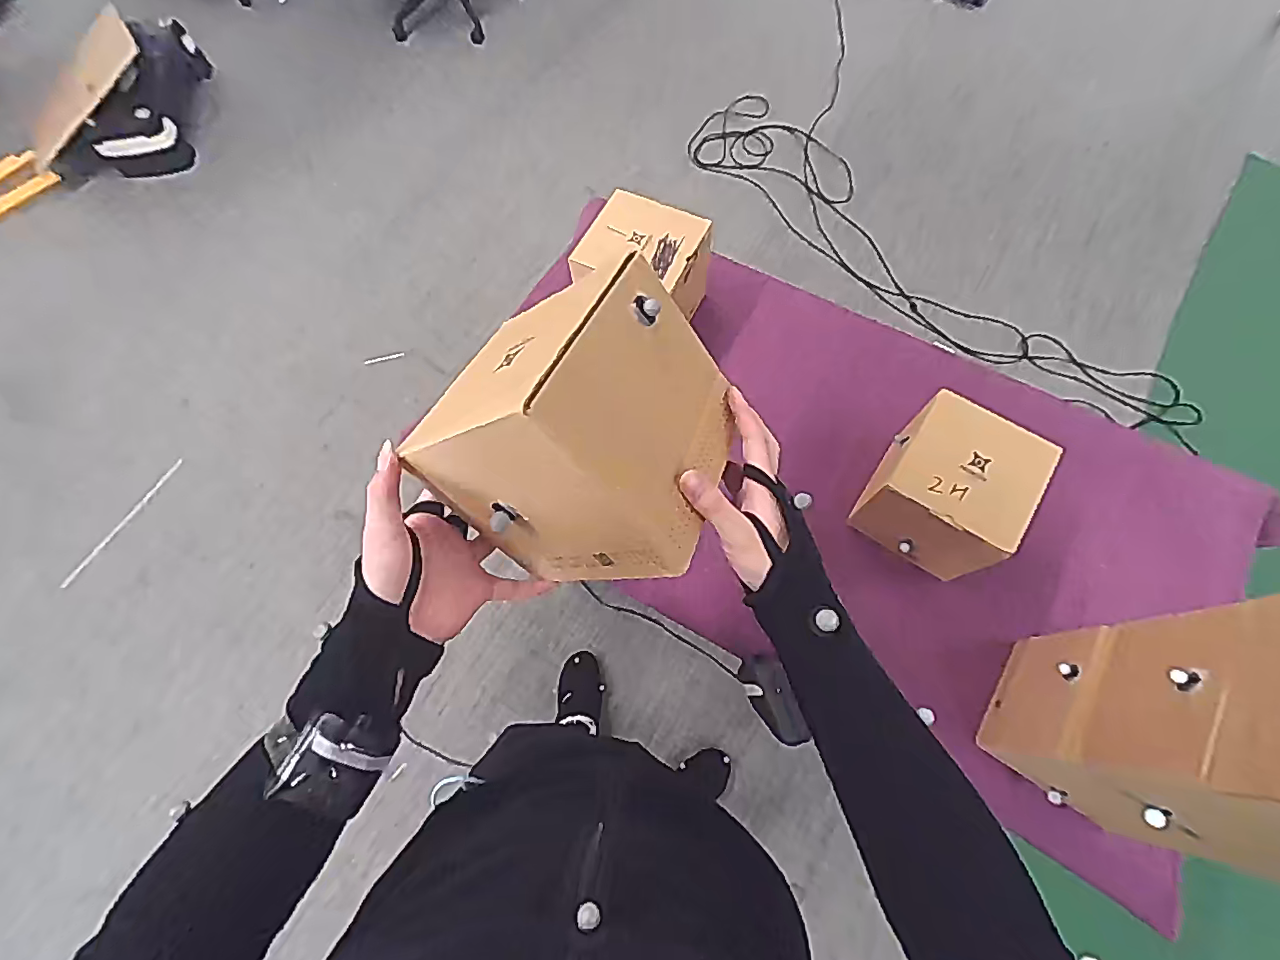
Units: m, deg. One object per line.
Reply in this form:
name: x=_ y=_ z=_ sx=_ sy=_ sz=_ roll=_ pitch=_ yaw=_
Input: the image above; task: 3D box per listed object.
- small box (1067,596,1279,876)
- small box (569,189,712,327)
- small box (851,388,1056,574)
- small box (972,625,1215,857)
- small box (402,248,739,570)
small box: x=0.554 y=0.238 z=0.504 sx=0.168 sy=0.176 sz=0.179 roll=32 pitch=73 yaw=15
small box: x=0.005 y=-0.347 z=0.921 sx=0.179 sy=0.176 sz=0.168 roll=25 pitch=72 yaw=12
small box: x=0.430 y=0.009 z=0.772 sx=0.168 sy=0.176 sz=0.179 roll=33 pitch=74 yaw=14
small box: x=0.556 y=0.300 z=0.656 sx=0.179 sy=0.176 sz=0.168 roll=33 pitch=73 yaw=13
small box: x=-0.042 y=-0.040 z=0.434 sx=0.168 sy=0.176 sz=0.179 roll=-11 pitch=42 yaw=41
